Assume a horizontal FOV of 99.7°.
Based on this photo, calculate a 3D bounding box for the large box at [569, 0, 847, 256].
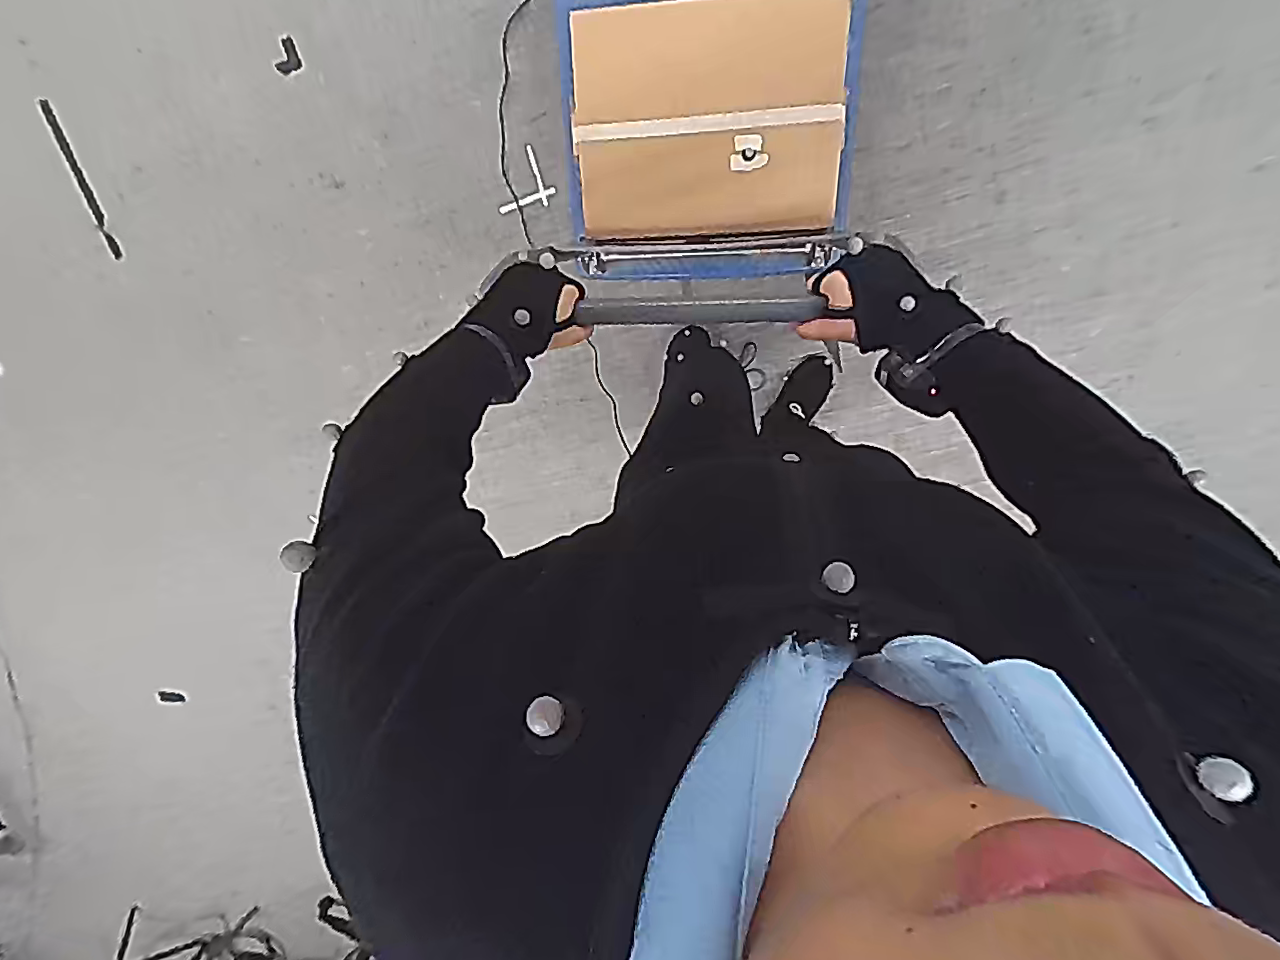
[{"bbox_3d":[0.116,-0.583,0.963,0.408,0.320,0.320,0,112,8],"label":"large box"}]
